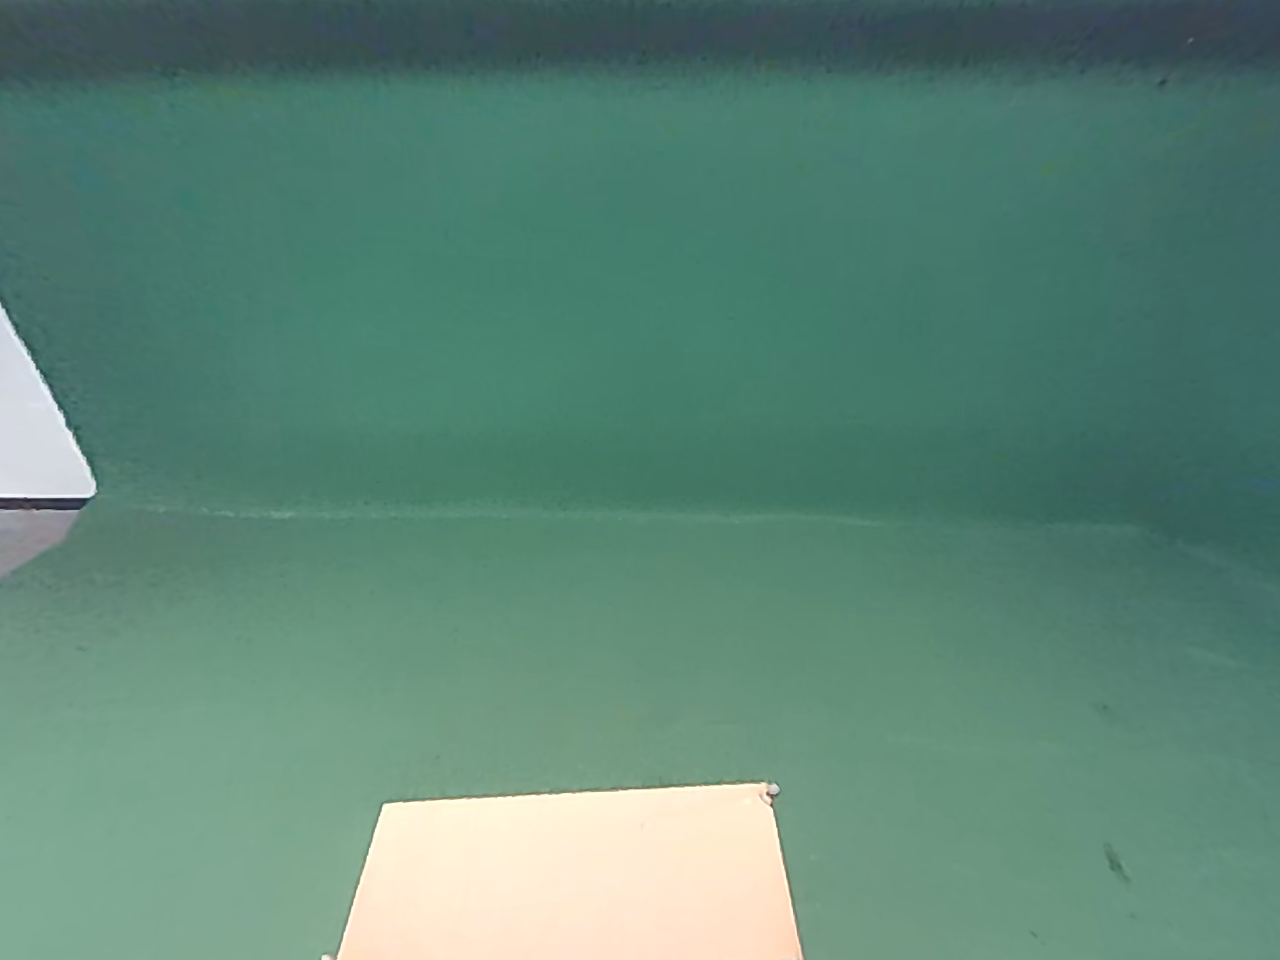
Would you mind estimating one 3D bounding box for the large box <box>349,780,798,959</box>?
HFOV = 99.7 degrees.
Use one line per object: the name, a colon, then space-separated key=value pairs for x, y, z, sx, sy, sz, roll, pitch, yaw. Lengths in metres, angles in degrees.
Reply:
large box: x=-0.060 y=0.547 z=0.559 sx=0.408 sy=0.320 sz=0.320 roll=-1 pitch=41 yaw=-3
